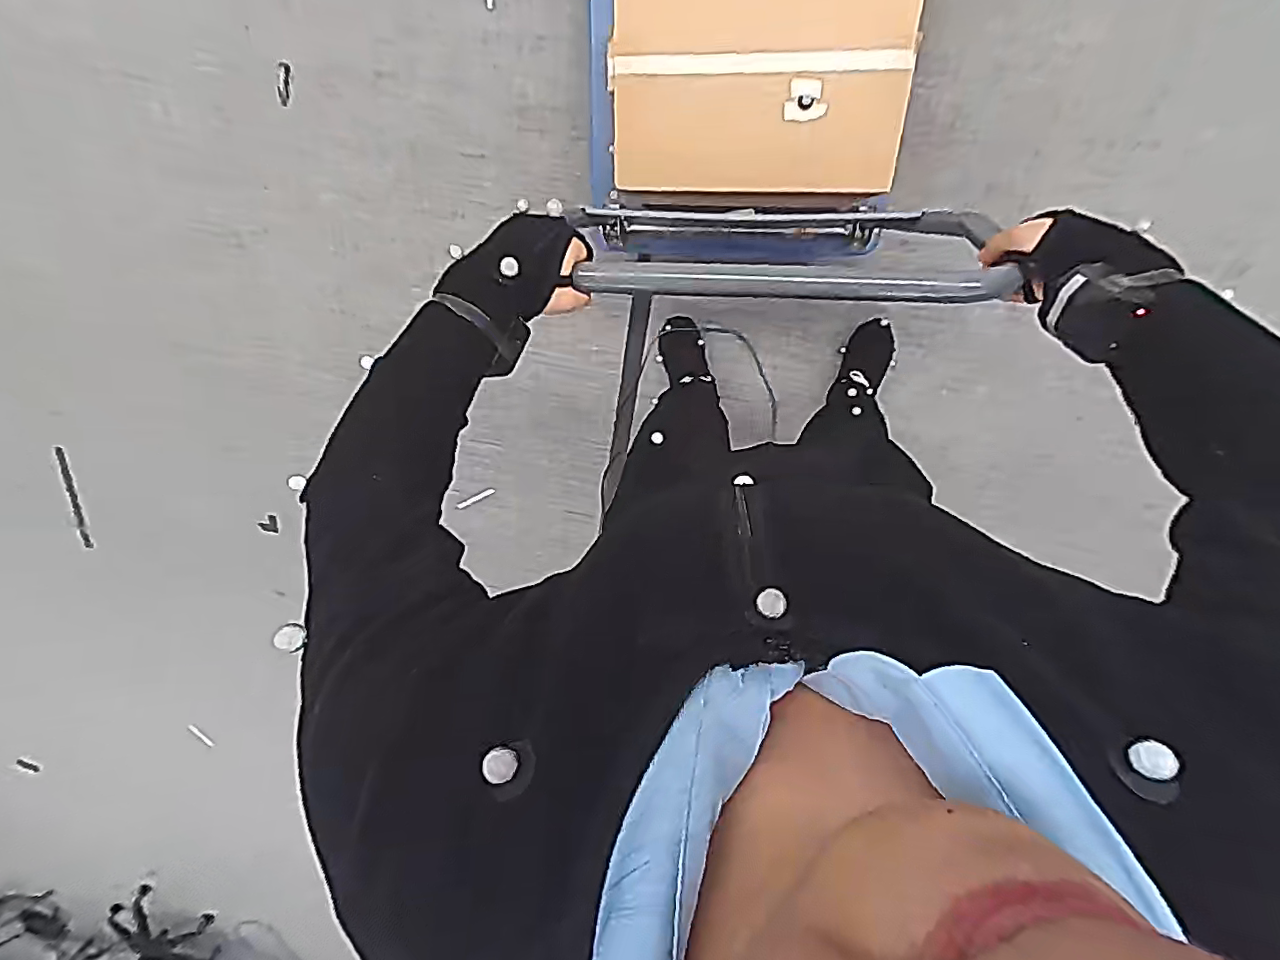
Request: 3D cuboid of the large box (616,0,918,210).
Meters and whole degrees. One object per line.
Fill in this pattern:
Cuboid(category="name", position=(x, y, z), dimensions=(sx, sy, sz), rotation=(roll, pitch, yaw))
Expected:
Cuboid(category="large box", position=(0.178, -0.625, 0.885), dimensions=(0.408, 0.320, 0.320), rotation=(4, 114, 5))
